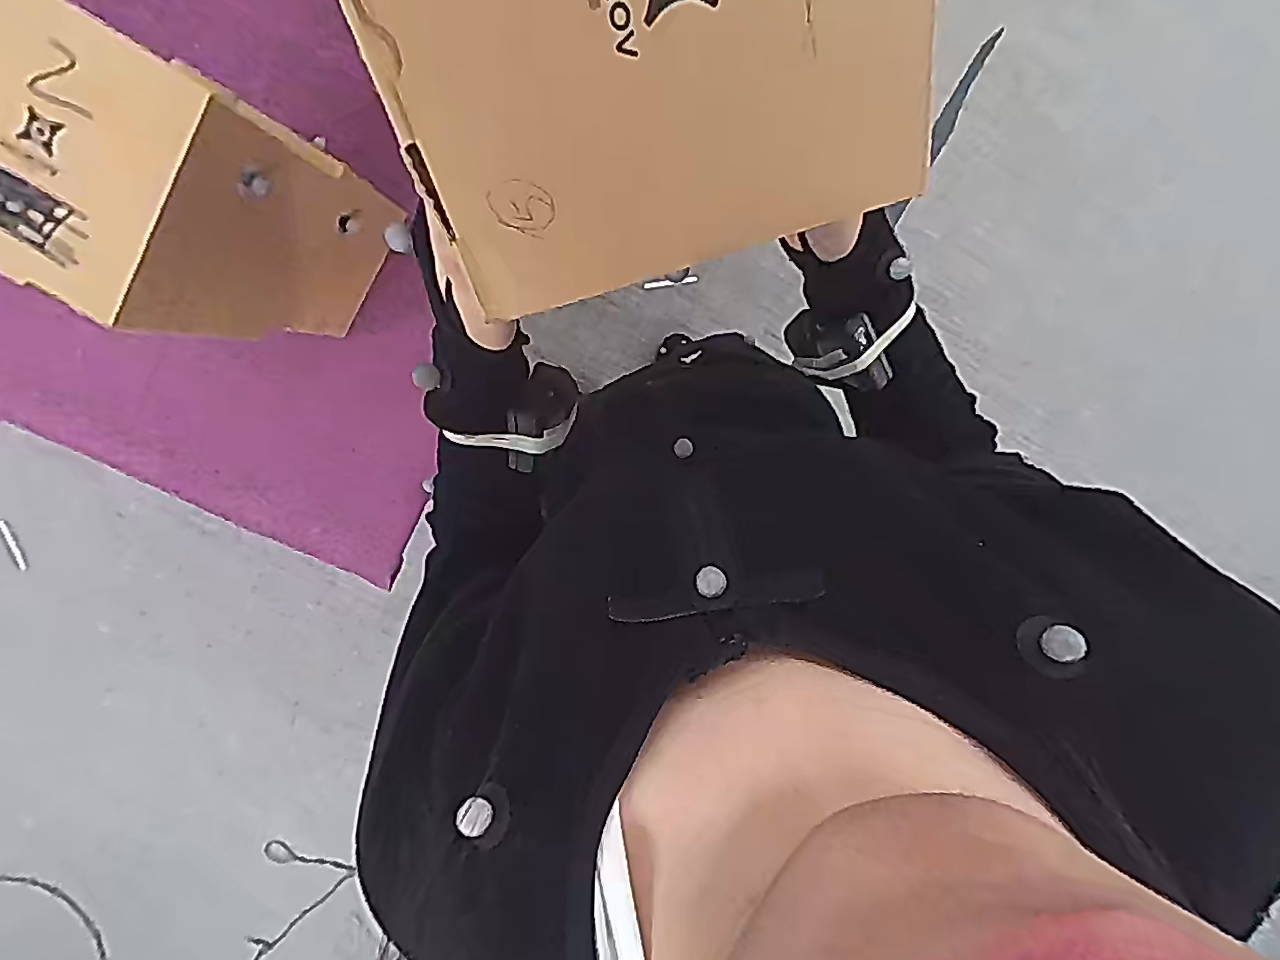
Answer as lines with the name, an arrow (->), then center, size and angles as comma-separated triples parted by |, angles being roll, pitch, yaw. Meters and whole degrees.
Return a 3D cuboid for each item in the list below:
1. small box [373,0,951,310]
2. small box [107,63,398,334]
small box -> -0.004, -0.192, 0.223 | 0.179, 0.176, 0.168 | -18, 124, -2
small box -> -0.391, -0.278, 0.585 | 0.168, 0.176, 0.179 | 31, 99, -9
